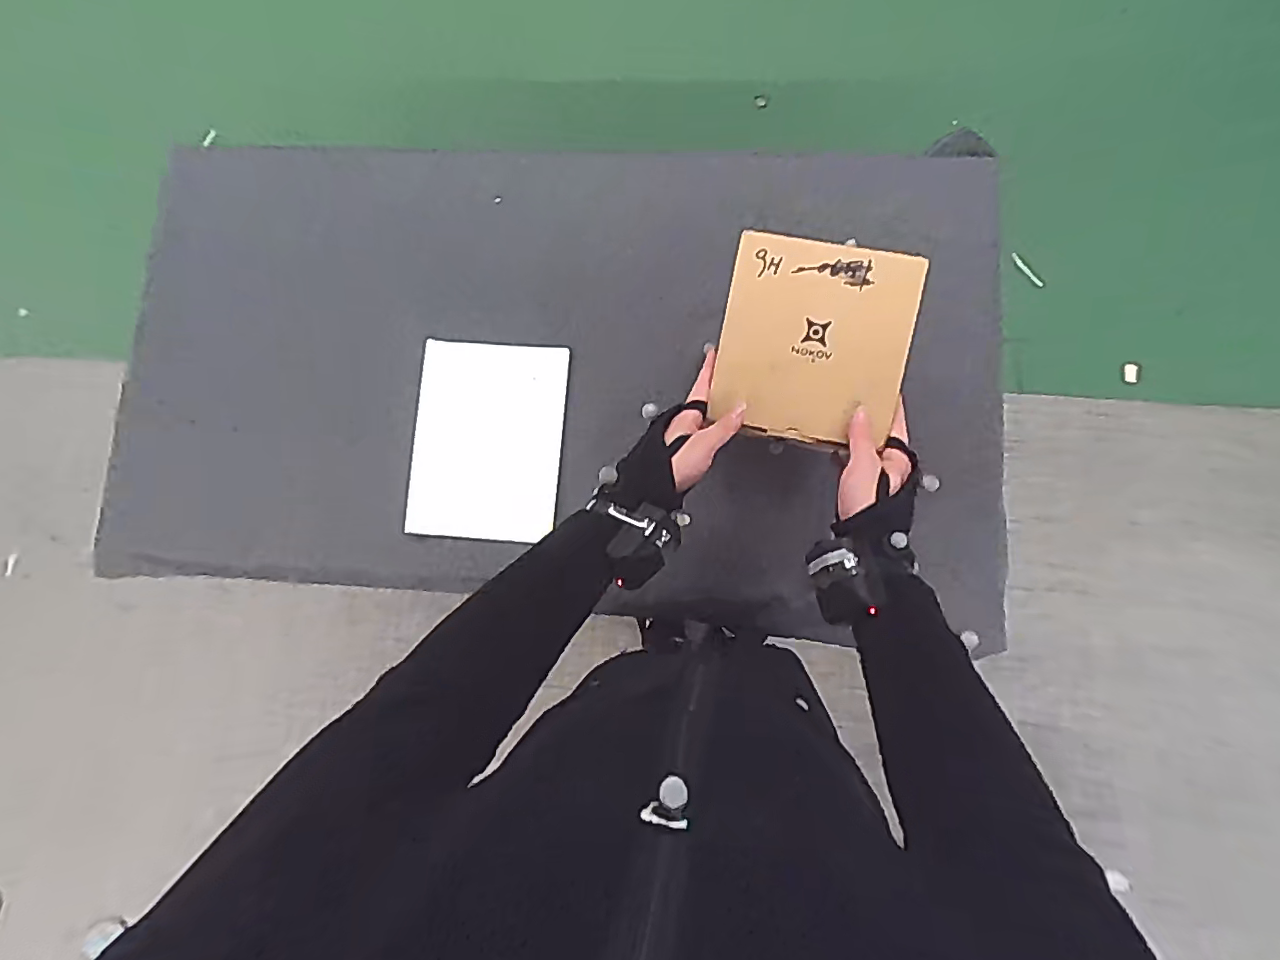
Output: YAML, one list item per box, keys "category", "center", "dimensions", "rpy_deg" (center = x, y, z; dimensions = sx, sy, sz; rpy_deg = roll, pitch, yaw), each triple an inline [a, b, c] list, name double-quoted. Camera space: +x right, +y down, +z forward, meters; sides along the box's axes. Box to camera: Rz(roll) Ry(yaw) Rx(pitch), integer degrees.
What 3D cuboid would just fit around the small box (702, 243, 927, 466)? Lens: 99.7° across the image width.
- category: "small box"
  center: [0.165, -0.120, 0.568]
  dimensions: [0.168, 0.176, 0.179]
  rpy_deg: [12, 97, 5]
